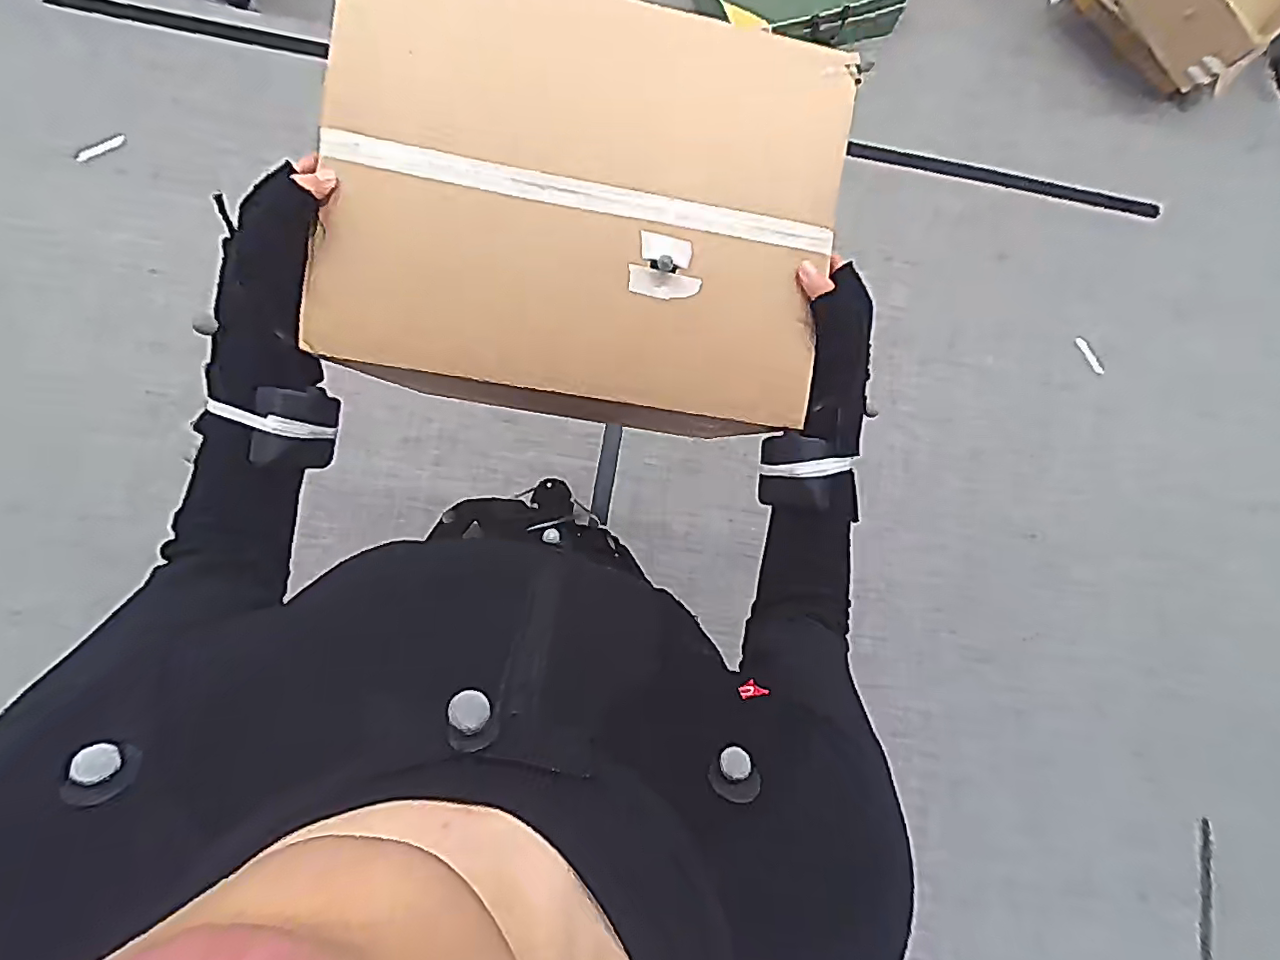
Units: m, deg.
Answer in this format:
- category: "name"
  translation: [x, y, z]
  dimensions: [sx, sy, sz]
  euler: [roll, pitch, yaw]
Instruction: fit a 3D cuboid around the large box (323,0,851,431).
- category: "large box"
  translation: [-0.054, -0.235, 0.586]
  dimensions: [0.408, 0.320, 0.320]
  euler: [8, 93, -8]
